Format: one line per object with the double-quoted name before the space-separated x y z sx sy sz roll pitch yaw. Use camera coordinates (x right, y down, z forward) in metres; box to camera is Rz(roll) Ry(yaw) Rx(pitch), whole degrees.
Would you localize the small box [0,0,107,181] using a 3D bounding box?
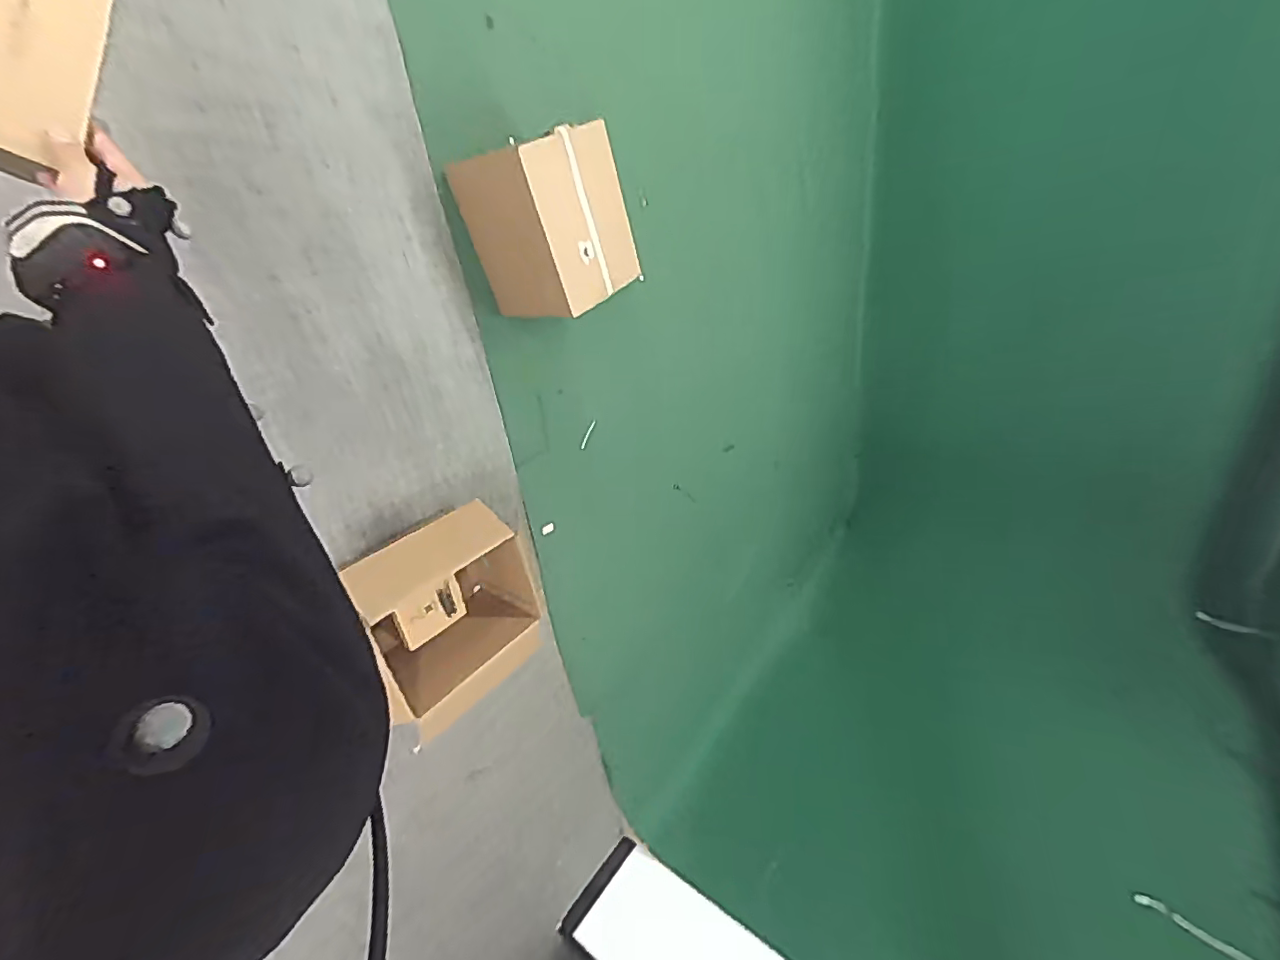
"small box" -0.554 -0.355 0.417 0.179 0.176 0.168 9 98 -52
